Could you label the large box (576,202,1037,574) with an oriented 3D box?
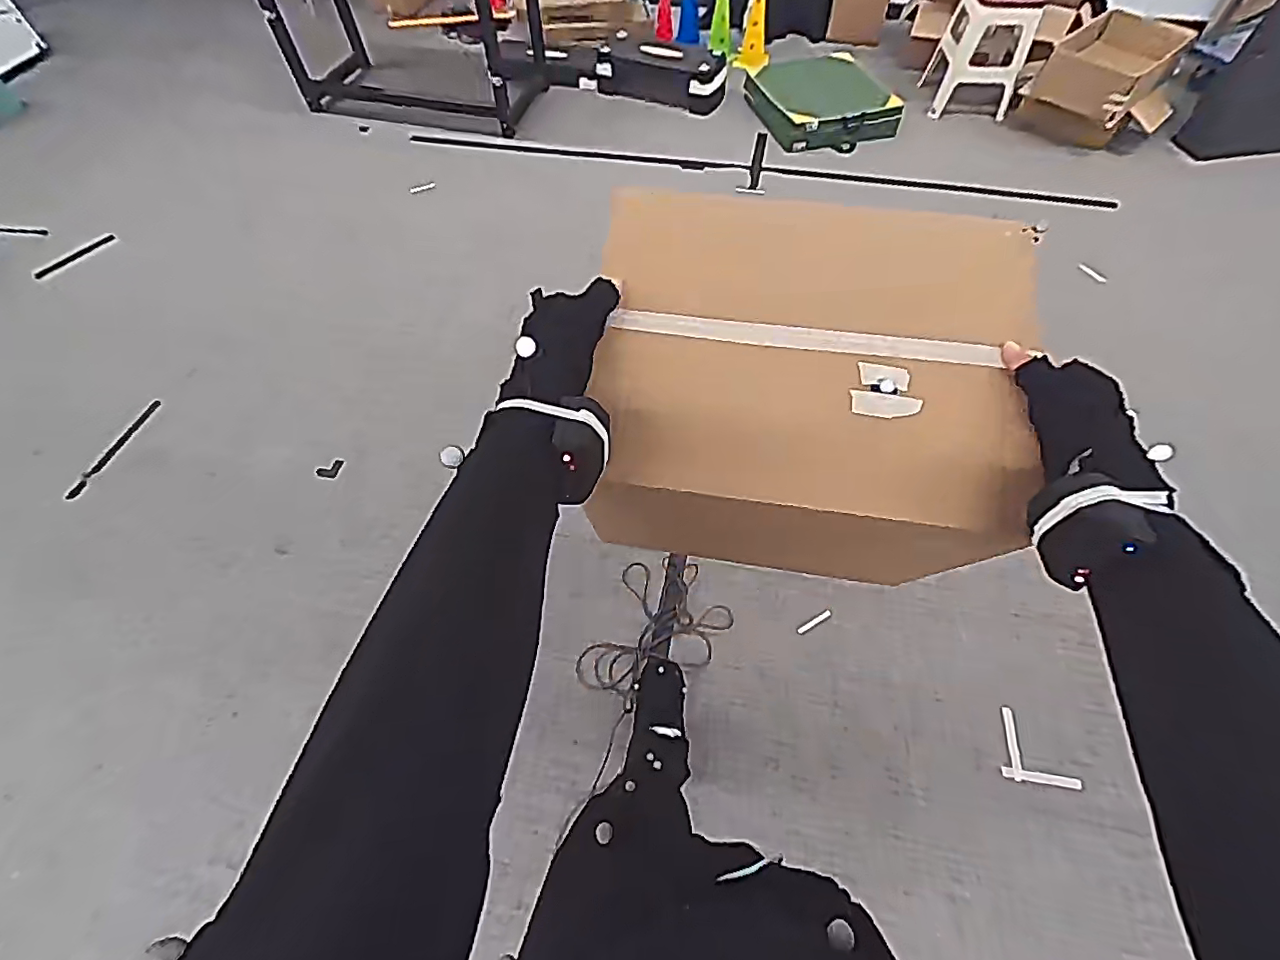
[{"bbox_3d":[0.163,-0.082,0.650,0.408,0.320,0.320,8,74,5],"label":"large box"}]
